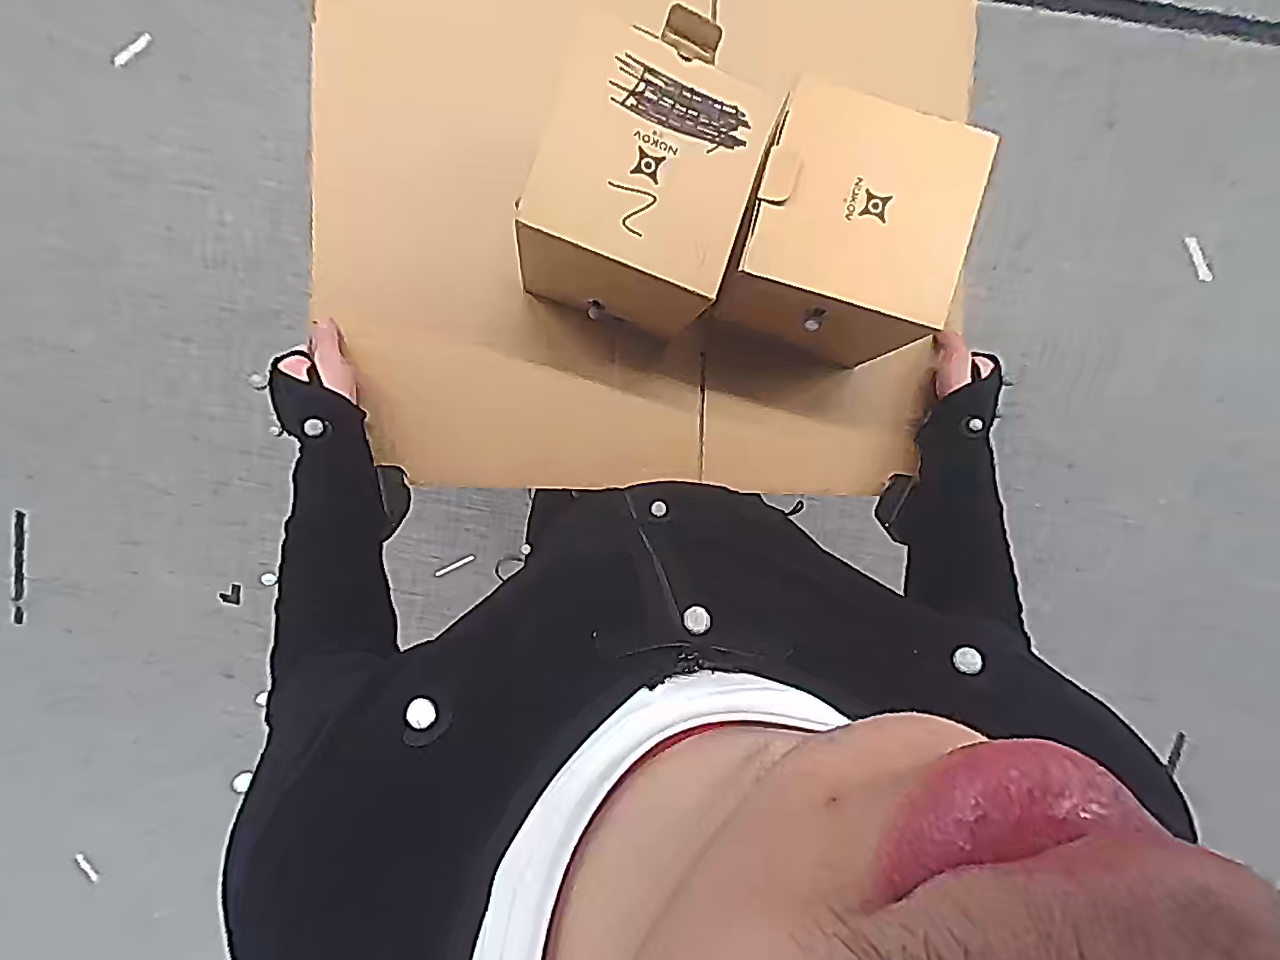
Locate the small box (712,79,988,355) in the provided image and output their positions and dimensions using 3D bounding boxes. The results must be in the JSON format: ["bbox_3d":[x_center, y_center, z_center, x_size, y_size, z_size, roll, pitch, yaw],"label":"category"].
[{"bbox_3d":[0.184,-0.232,0.529,0.179,0.176,0.168,16,91,-2],"label":"small box"}]
